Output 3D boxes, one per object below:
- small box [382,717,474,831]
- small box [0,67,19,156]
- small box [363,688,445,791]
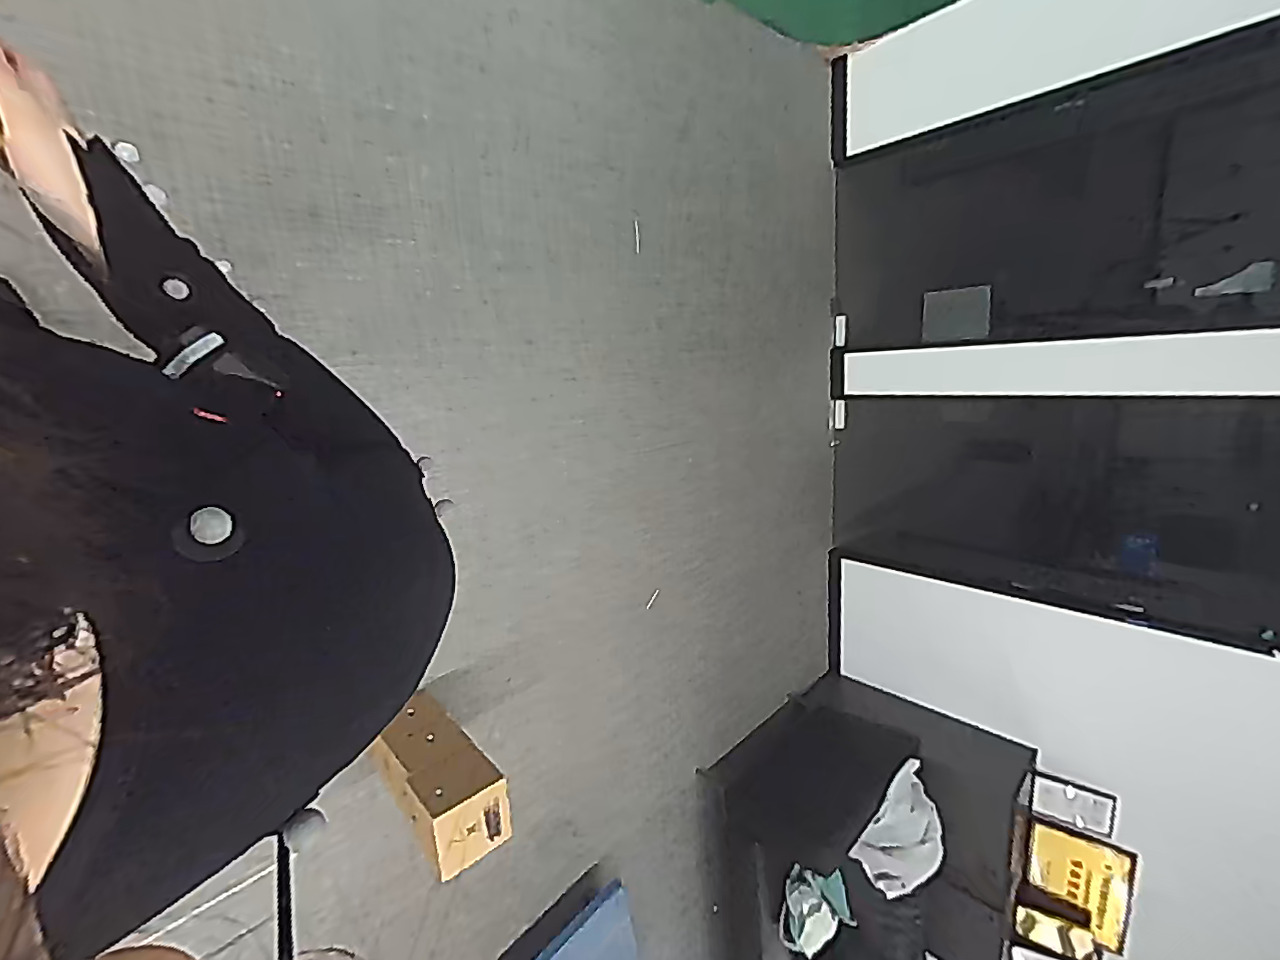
[{"bbox_3d":[-0.552,0.746,1.402,0.168,0.176,0.179,-14,107,-42],"label":"small box"},{"bbox_3d":[-0.465,-0.277,0.272,0.168,0.176,0.179,-16,121,-40],"label":"small box"},{"bbox_3d":[-0.662,0.722,1.522,0.179,0.176,0.168,-15,108,-43],"label":"small box"}]
